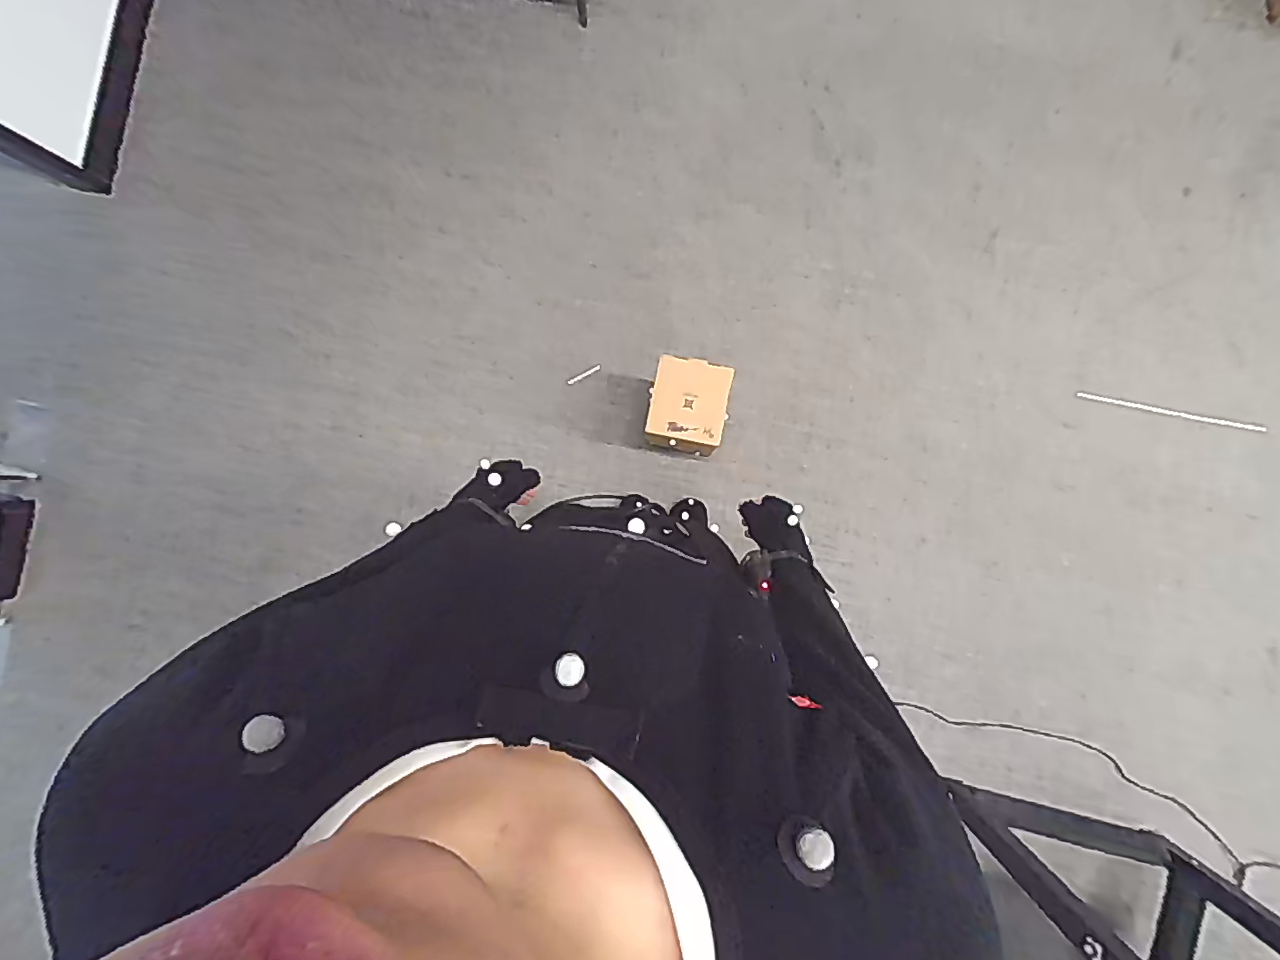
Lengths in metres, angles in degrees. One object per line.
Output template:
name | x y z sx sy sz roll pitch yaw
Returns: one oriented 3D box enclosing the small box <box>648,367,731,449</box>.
small box | 0.125 -0.180 1.404 0.179 0.176 0.168 12 89 3
